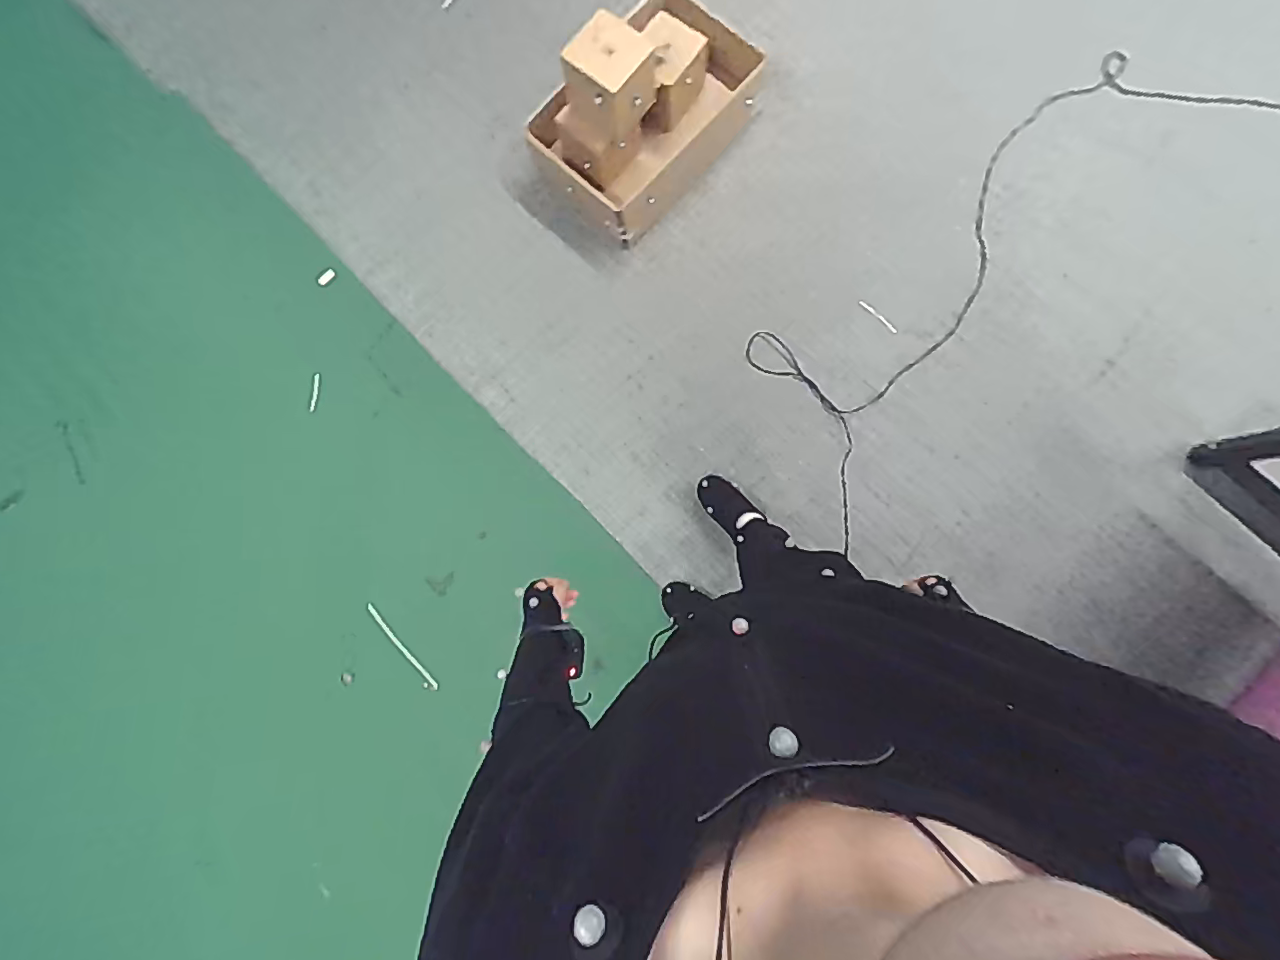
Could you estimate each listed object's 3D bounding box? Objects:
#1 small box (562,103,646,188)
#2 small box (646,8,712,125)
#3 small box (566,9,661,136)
[{"bbox_3d":[-0.095,-0.991,1.553,0.168,0.176,0.179,40,87,7],"label":"small box"},{"bbox_3d":[0.092,-1.178,1.557,0.168,0.176,0.179,36,88,7],"label":"small box"},{"bbox_3d":[-0.061,-1.033,1.391,0.179,0.176,0.168,38,86,7],"label":"small box"}]
